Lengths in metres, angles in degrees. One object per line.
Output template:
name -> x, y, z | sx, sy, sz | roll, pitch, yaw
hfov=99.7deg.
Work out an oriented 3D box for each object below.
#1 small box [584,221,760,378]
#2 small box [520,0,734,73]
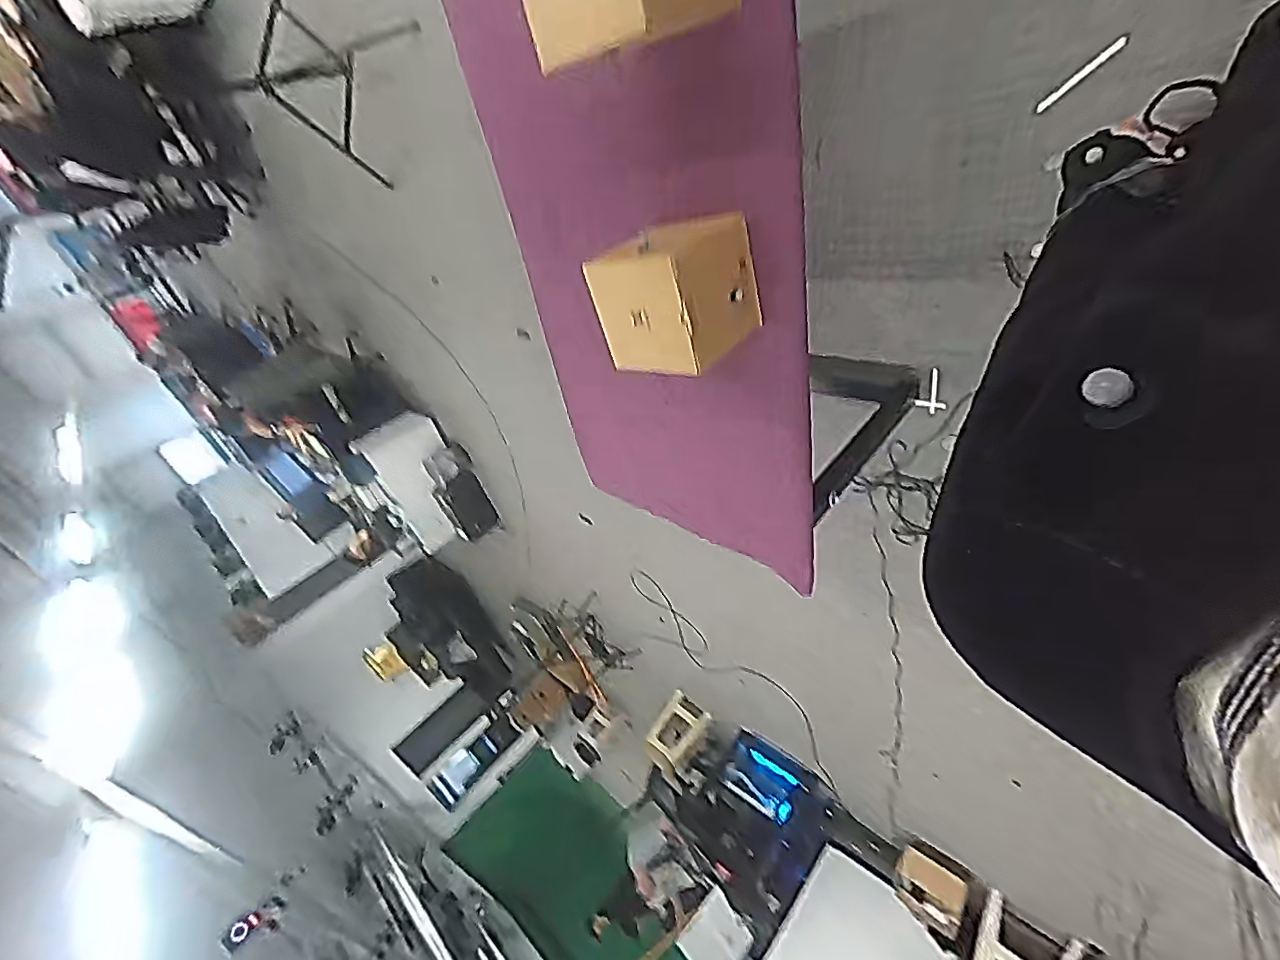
small box -> 0.053, -0.269, 0.807 | 0.179, 0.176, 0.168 | 15, 135, 43
small box -> -0.021, -0.563, 0.573 | 0.179, 0.176, 0.168 | 19, 140, 40
